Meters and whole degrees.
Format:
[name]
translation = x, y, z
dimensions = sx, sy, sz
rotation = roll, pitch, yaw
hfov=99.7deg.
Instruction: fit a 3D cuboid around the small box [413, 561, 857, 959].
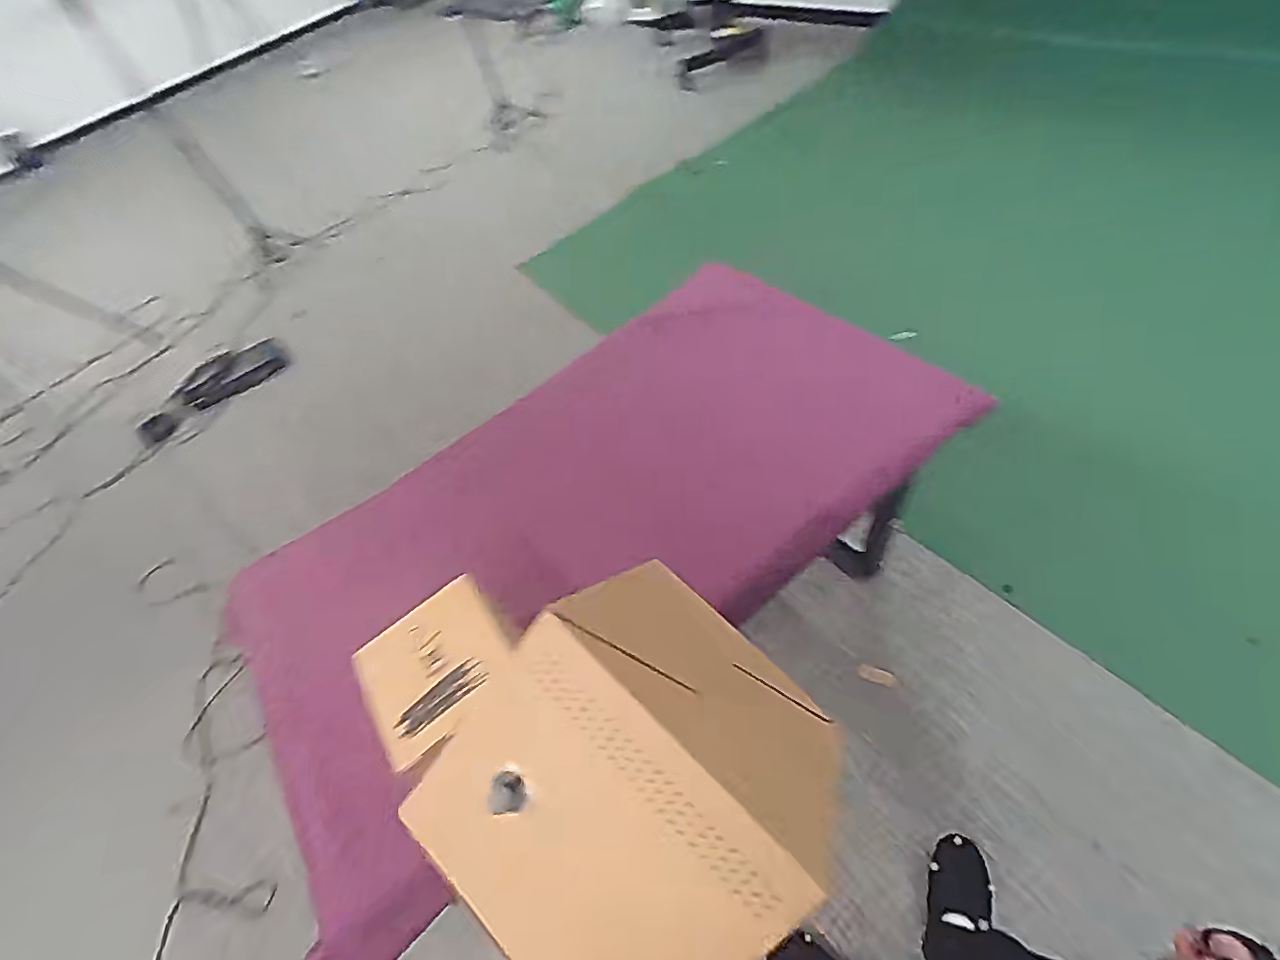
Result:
[small box]
translation = 0.007, 0.174, 0.337
dimensions = 0.179, 0.168, 0.176
rotation = 40, 106, 17
